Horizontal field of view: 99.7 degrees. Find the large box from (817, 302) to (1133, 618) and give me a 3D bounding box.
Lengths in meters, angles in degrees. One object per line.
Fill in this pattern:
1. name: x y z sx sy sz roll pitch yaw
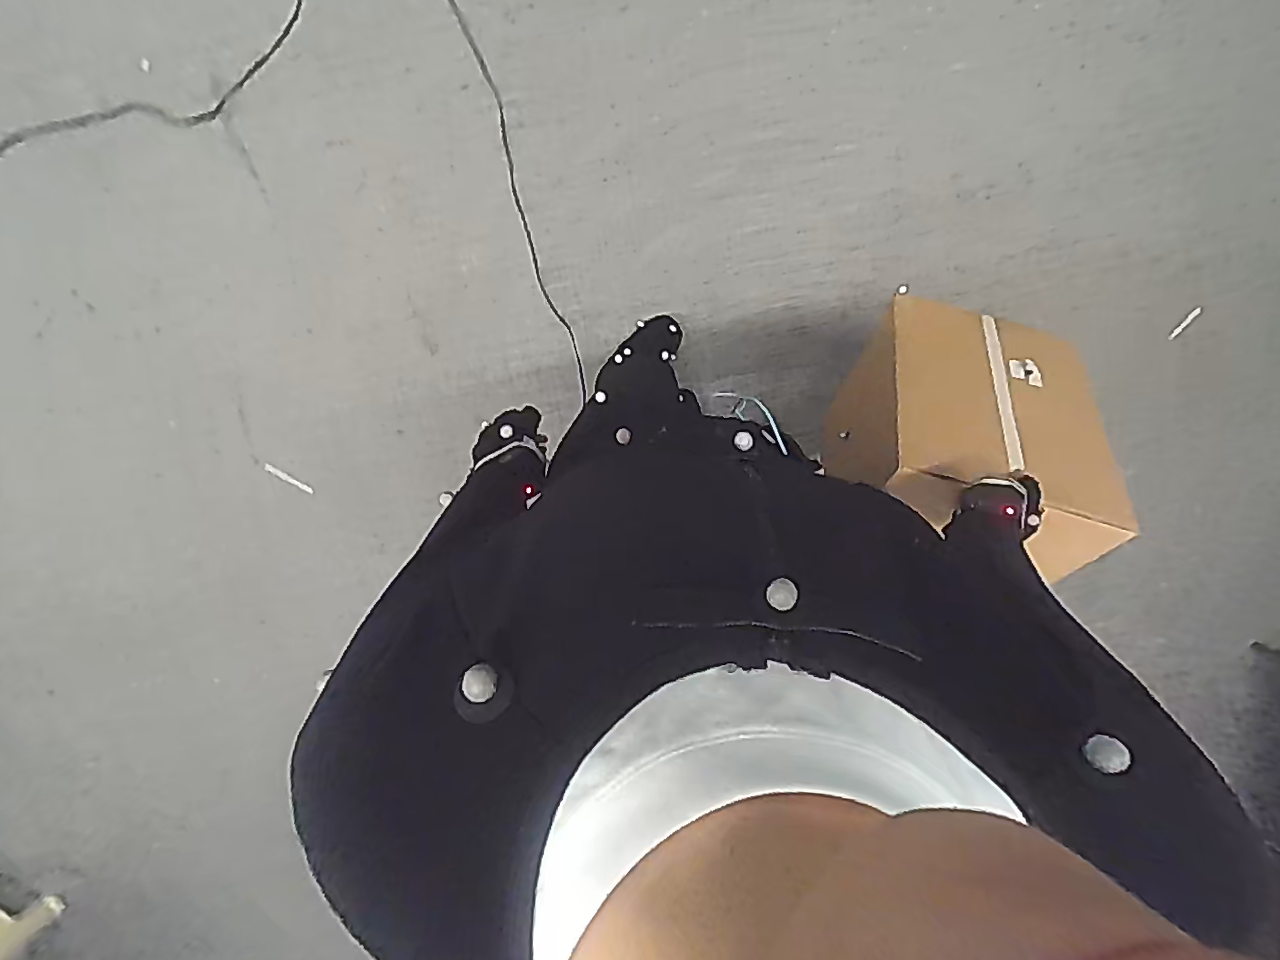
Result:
1. large box: 0.517 -0.033 0.935 0.320 0.408 0.320 17 143 3
